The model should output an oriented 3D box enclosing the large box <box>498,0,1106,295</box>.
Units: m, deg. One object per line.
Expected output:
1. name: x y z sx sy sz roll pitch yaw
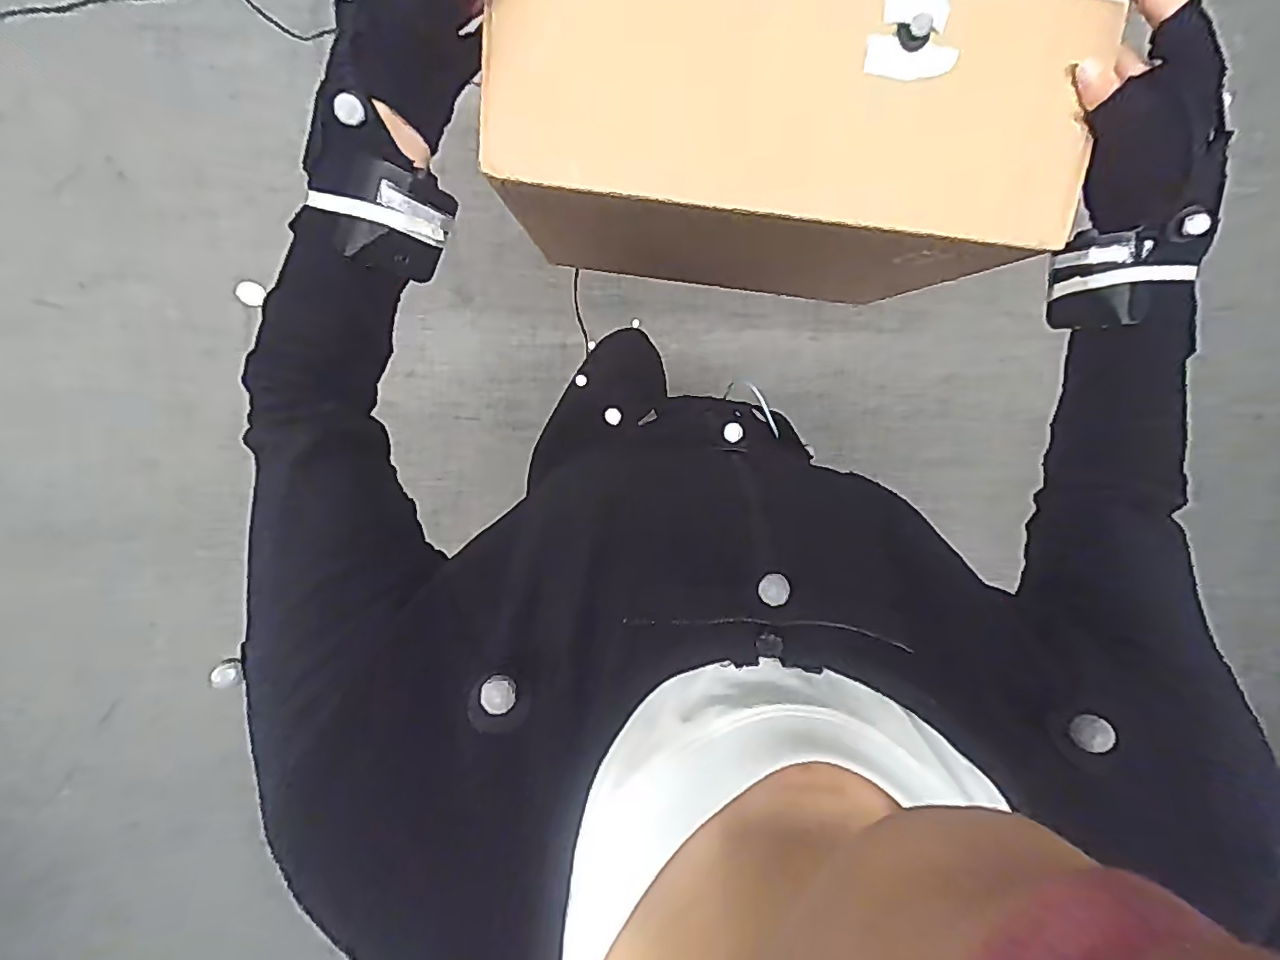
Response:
1. large box: 0.106 -0.368 0.496 0.408 0.320 0.320 5 102 -3
